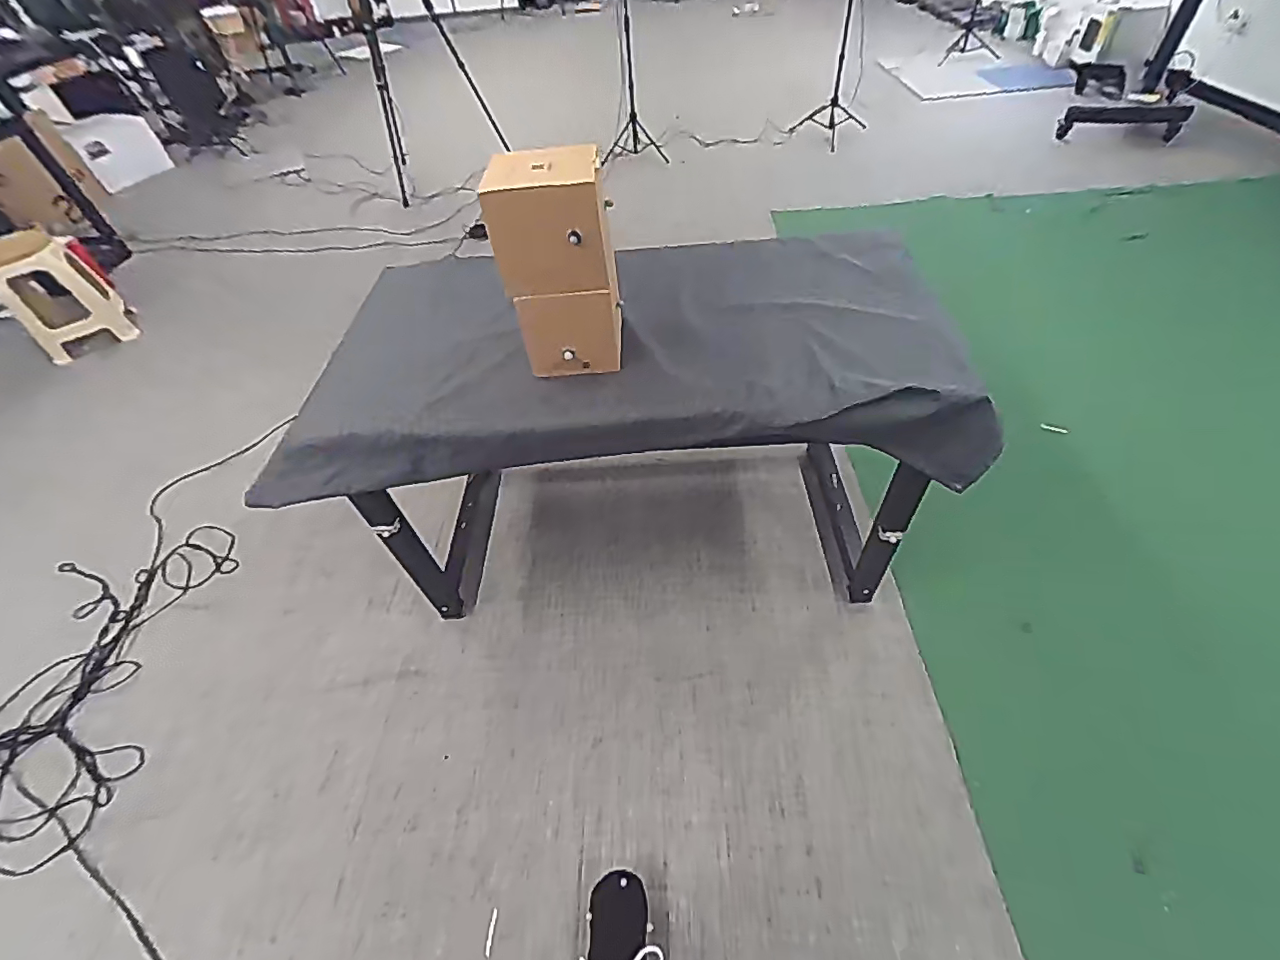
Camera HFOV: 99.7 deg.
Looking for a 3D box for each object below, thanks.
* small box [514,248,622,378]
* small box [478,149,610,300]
[{"bbox_3d":[-0.126,-0.311,1.013,0.168,0.176,0.179,-3,49,3],"label":"small box"},{"bbox_3d":[-0.144,-0.416,0.890,0.179,0.176,0.168,-5,48,3],"label":"small box"}]
